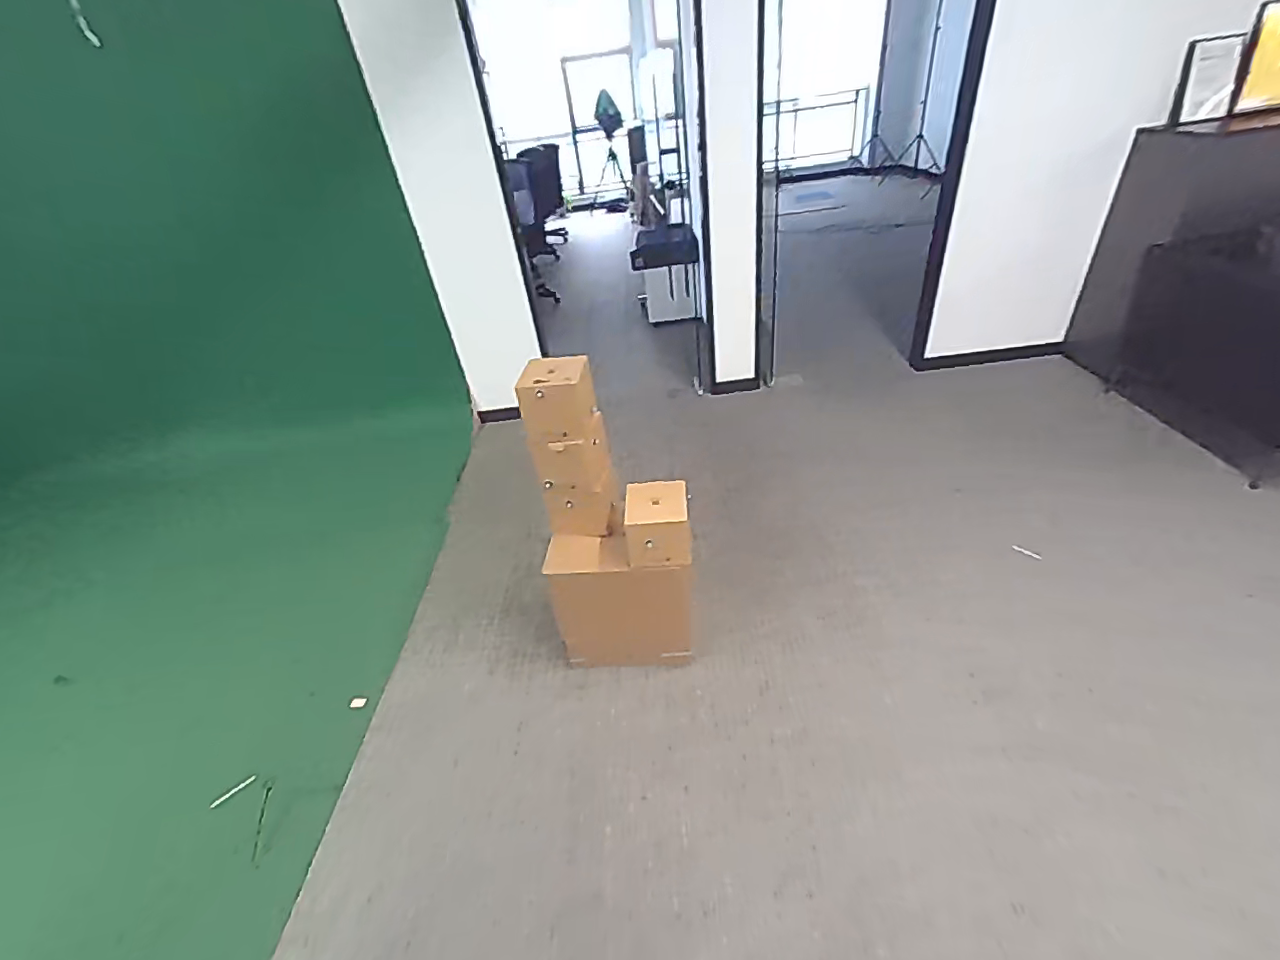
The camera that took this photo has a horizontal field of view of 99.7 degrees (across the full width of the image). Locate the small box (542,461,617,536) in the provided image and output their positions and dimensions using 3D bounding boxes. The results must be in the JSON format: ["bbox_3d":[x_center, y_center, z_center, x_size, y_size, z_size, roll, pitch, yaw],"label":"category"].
[{"bbox_3d":[-0.177,0.055,1.645,0.179,0.176,0.168,1,37,11],"label":"small box"}]

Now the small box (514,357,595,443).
[{"bbox_3d":[-0.221,-0.217,1.463,0.168,0.176,0.179,-4,35,8],"label":"small box"}]

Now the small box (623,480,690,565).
[{"bbox_3d":[0.049,0.123,1.505,0.168,0.176,0.179,-4,36,5],"label":"small box"}]

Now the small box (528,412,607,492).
[{"bbox_3d":[-0.200,-0.079,1.553,0.168,0.176,0.179,1,35,13],"label":"small box"}]
